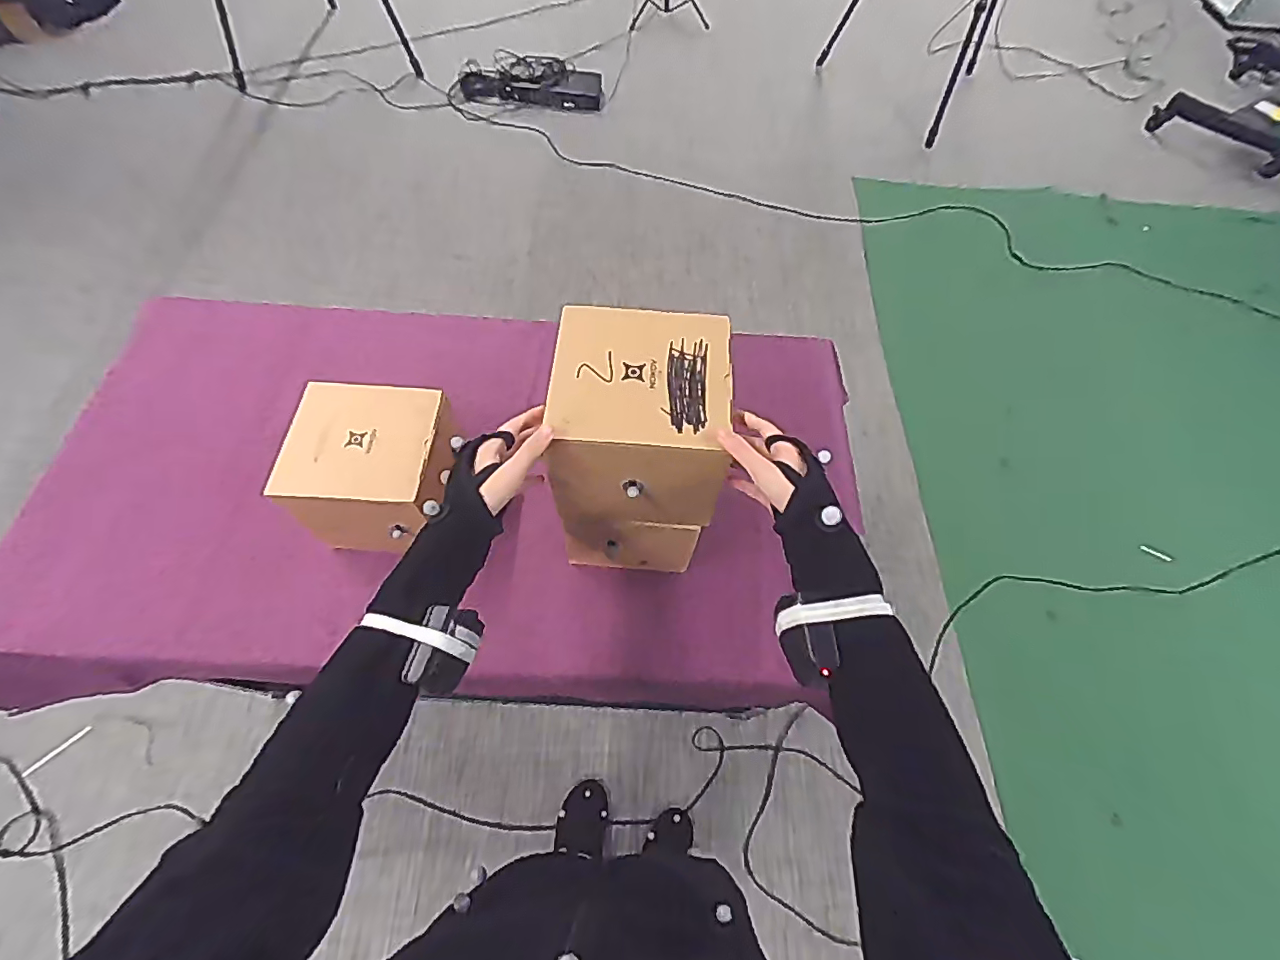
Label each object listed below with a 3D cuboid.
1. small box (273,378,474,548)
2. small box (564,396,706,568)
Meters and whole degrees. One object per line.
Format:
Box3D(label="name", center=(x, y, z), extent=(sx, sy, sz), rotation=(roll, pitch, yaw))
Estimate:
Box3D(label="small box", center=(-0.338, -0.015, 0.733), extent=(0.179, 0.176, 0.168), rotation=(4, 61, -1))
Box3D(label="small box", center=(-0.004, 0.010, 0.739), extent=(0.168, 0.176, 0.179), rotation=(5, 61, 0))
